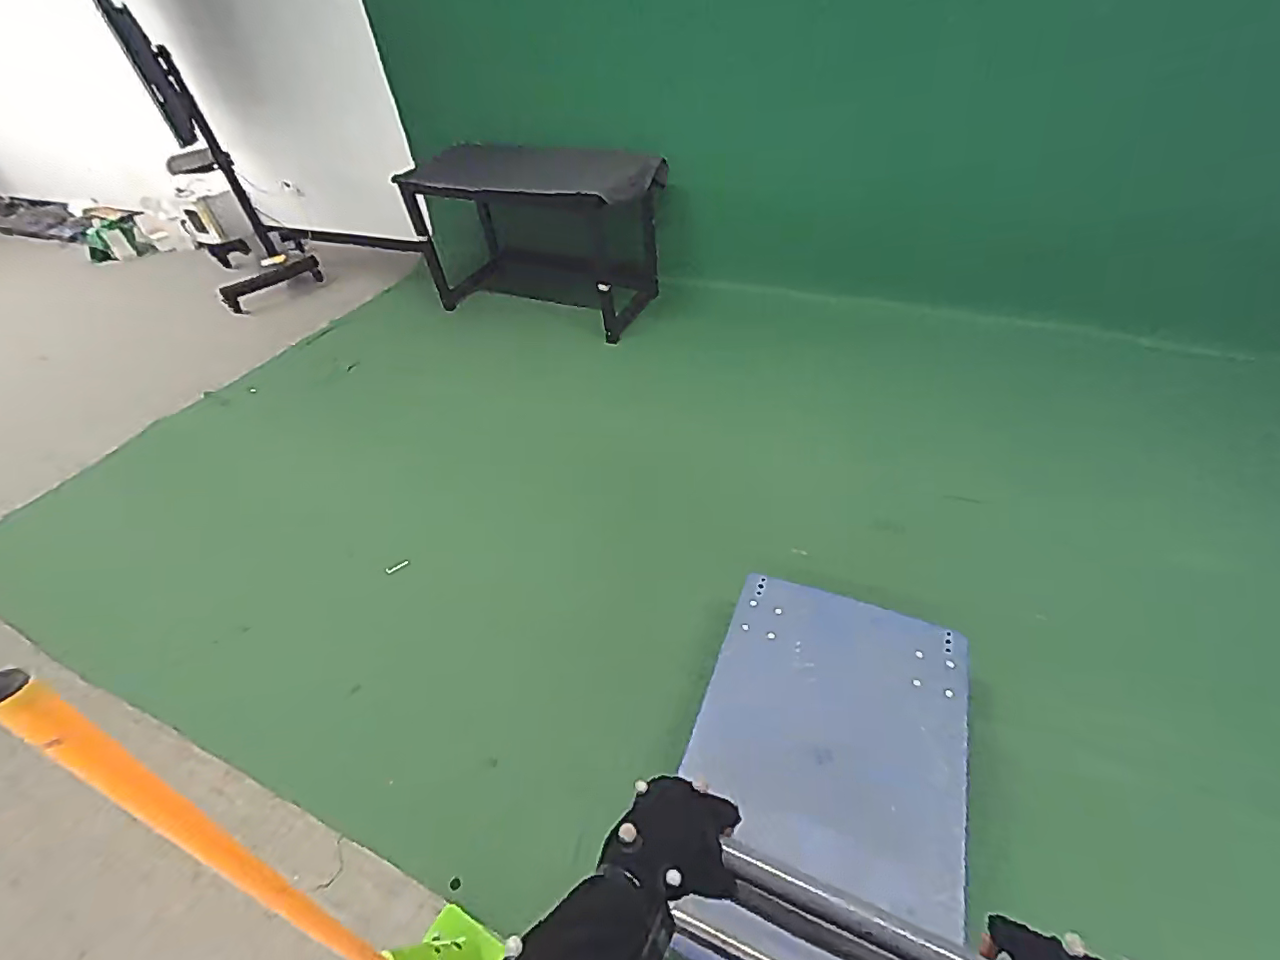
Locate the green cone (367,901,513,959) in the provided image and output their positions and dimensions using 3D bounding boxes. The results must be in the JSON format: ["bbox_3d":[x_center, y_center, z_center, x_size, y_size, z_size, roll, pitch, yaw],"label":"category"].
[{"bbox_3d":[-0.403,0.900,0.998,0.202,0.368,0.200,18,48,24],"label":"green cone"}]
